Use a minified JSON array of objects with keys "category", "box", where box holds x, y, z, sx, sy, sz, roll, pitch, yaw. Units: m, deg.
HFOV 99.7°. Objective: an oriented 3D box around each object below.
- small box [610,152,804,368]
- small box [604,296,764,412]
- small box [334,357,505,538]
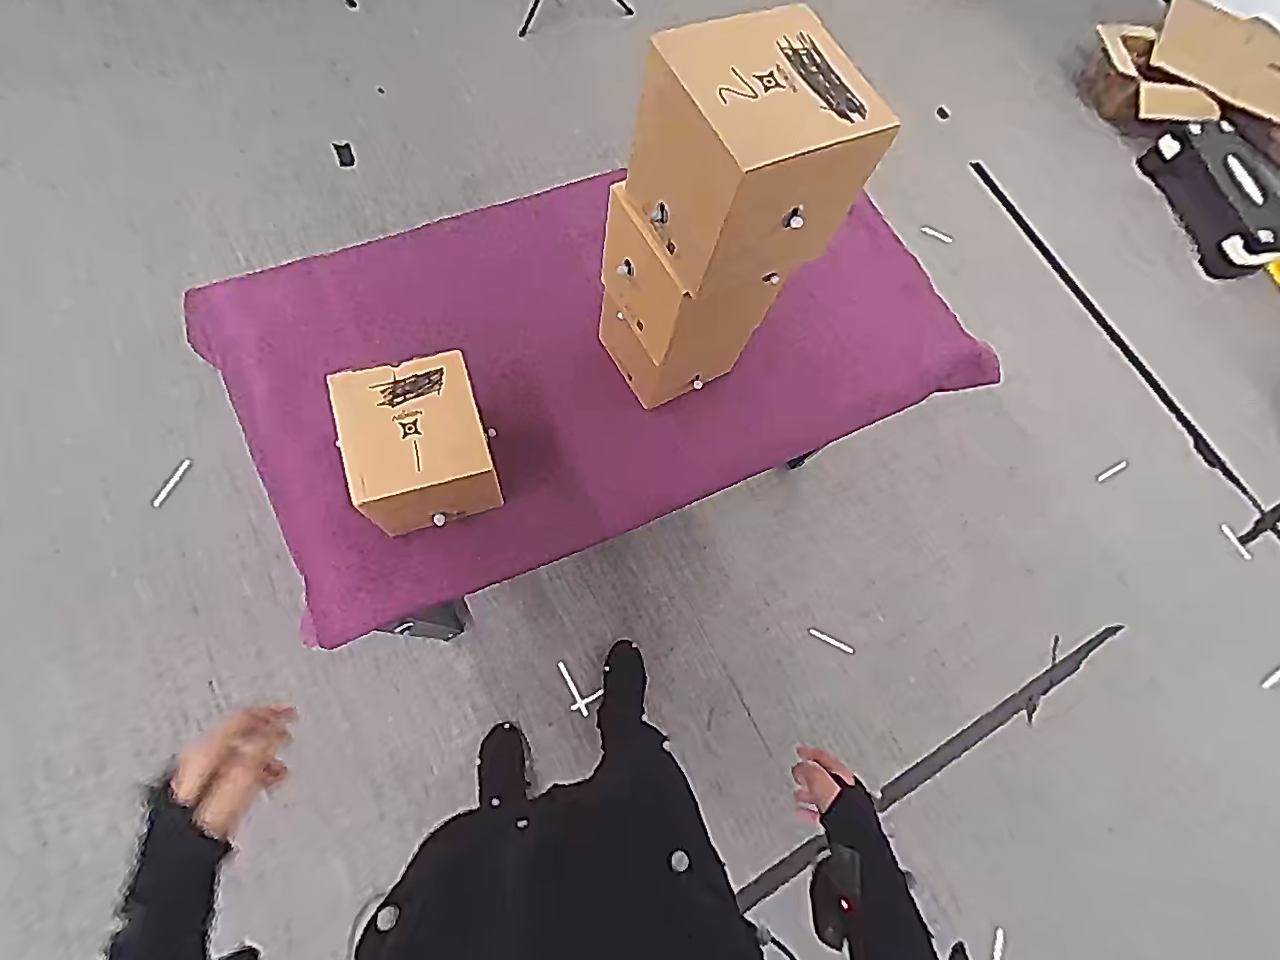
[{"category":"small box","box":[0.071,-0.273,0.700,0.179,0.176,0.168,-27,77,-17]},{"category":"small box","box":[0.058,-0.238,0.860,0.179,0.176,0.168,-28,76,-17]},{"category":"small box","box":[-0.289,-0.038,0.738,0.168,0.176,0.179,-15,75,-14]}]
